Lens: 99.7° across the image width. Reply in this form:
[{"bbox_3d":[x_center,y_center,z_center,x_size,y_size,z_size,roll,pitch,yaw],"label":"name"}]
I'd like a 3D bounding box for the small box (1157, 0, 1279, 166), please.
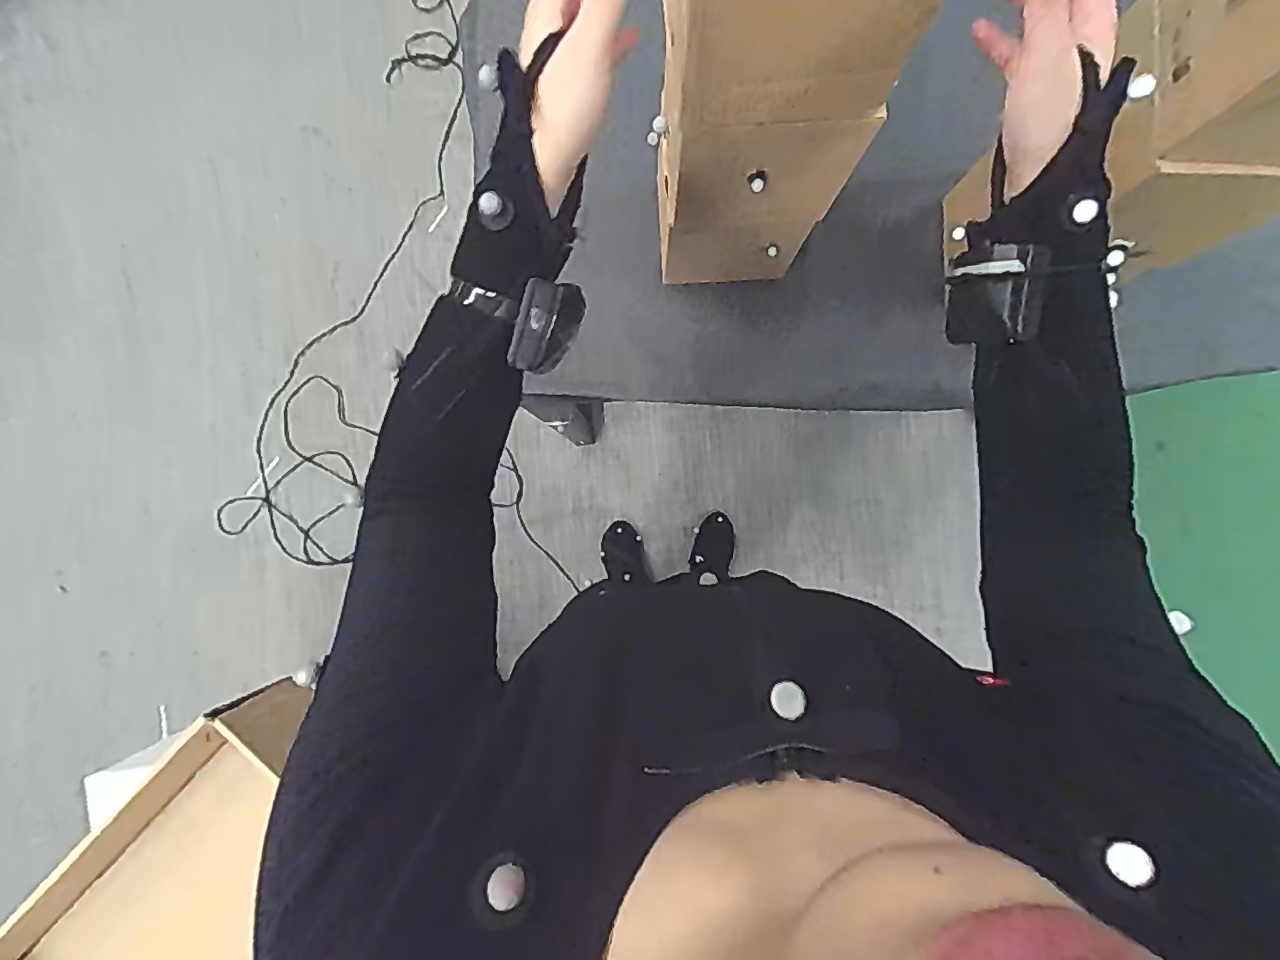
[{"bbox_3d":[0.509,-0.341,0.366,0.179,0.176,0.168,5,87,3],"label":"small box"}]

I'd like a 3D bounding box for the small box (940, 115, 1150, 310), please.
[{"bbox_3d":[0.517,-0.327,0.691,0.179,0.176,0.168,2,86,1],"label":"small box"}]

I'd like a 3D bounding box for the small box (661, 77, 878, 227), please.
[{"bbox_3d":[0.113,-0.375,0.540,0.179,0.176,0.168,-3,87,1],"label":"small box"}]

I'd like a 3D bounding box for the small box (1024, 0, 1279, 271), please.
[{"bbox_3d":[0.513,-0.329,0.529,0.168,0.176,0.179,3,88,3],"label":"small box"}]

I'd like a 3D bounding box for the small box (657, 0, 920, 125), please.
[{"bbox_3d":[0.100,-0.383,0.378,0.179,0.176,0.168,-5,87,0],"label":"small box"}]
